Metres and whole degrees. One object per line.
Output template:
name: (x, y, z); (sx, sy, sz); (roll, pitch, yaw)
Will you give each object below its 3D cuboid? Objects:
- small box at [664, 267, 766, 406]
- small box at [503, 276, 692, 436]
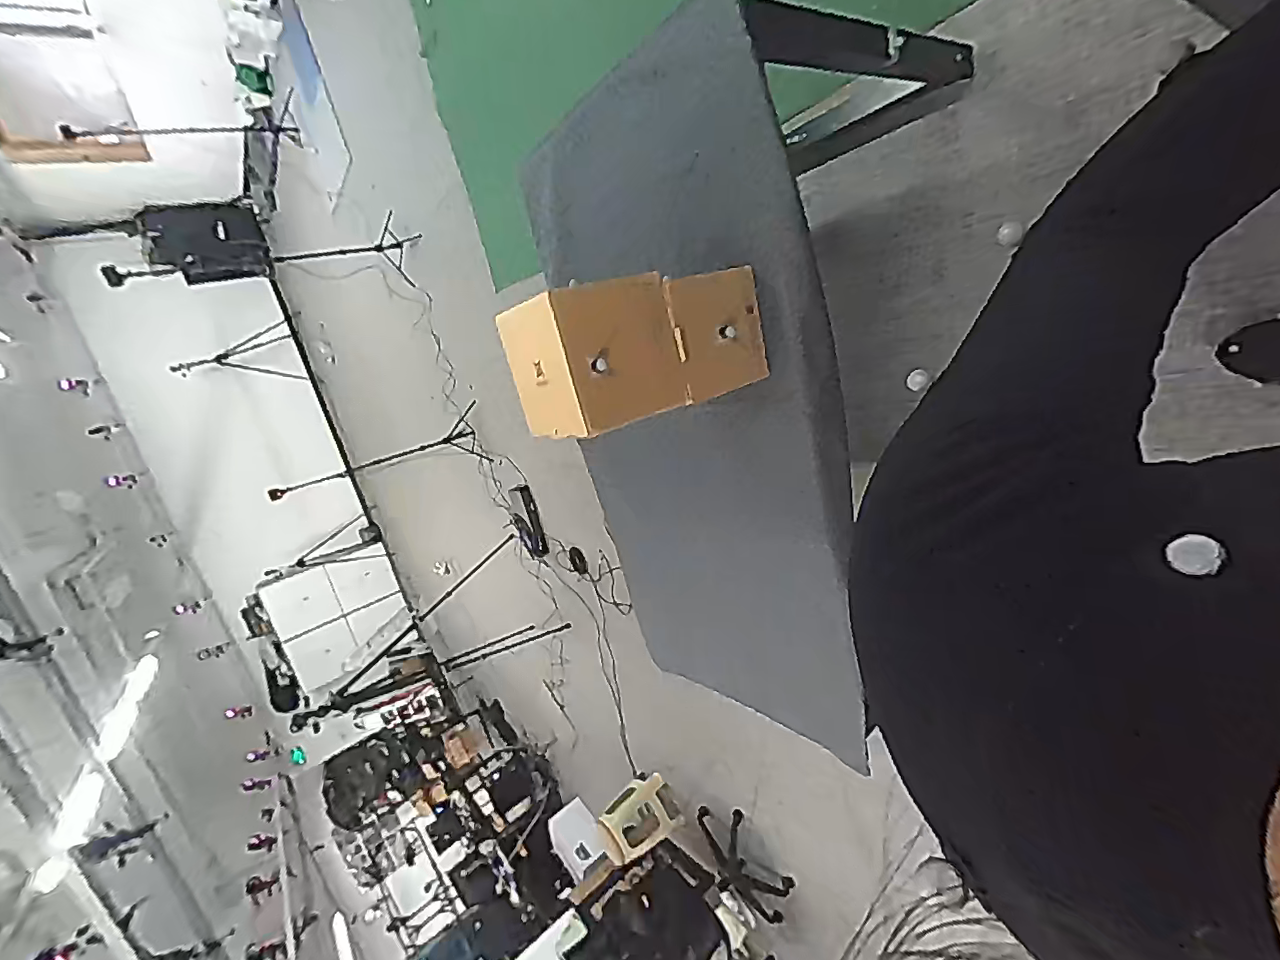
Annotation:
small box: (0.074, -0.213, 0.821); (0.179, 0.176, 0.168); (8, 117, 53)
small box: (-0.055, -0.166, 0.733); (0.168, 0.176, 0.179); (6, 116, 54)
